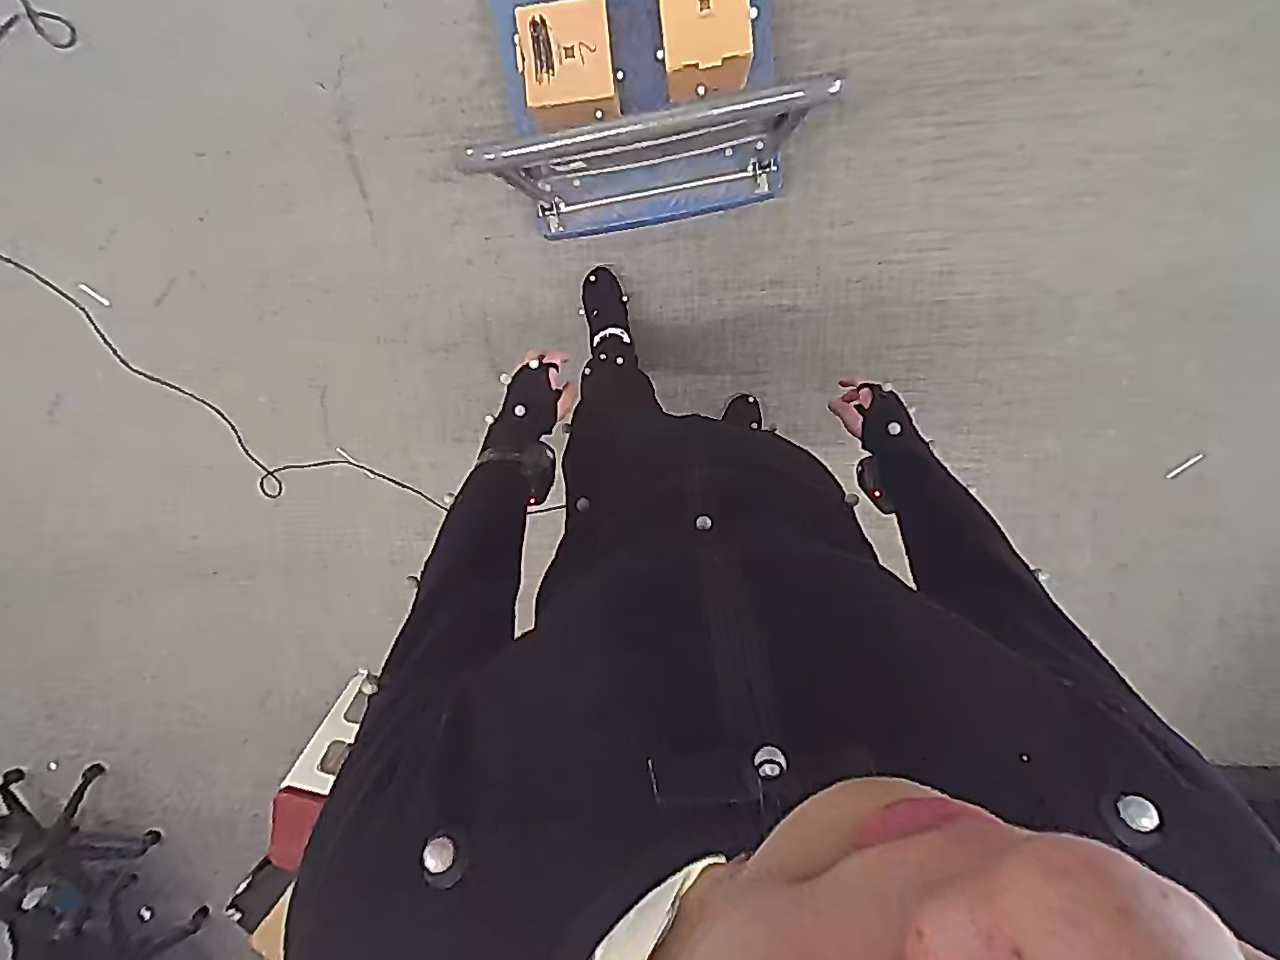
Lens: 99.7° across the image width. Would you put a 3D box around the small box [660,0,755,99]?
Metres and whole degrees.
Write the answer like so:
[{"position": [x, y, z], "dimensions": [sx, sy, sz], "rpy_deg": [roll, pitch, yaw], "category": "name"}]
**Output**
[{"position": [0.129, -0.895, 1.070], "dimensions": [0.168, 0.176, 0.179], "rpy_deg": [-7, 107, 6], "category": "small box"}]
